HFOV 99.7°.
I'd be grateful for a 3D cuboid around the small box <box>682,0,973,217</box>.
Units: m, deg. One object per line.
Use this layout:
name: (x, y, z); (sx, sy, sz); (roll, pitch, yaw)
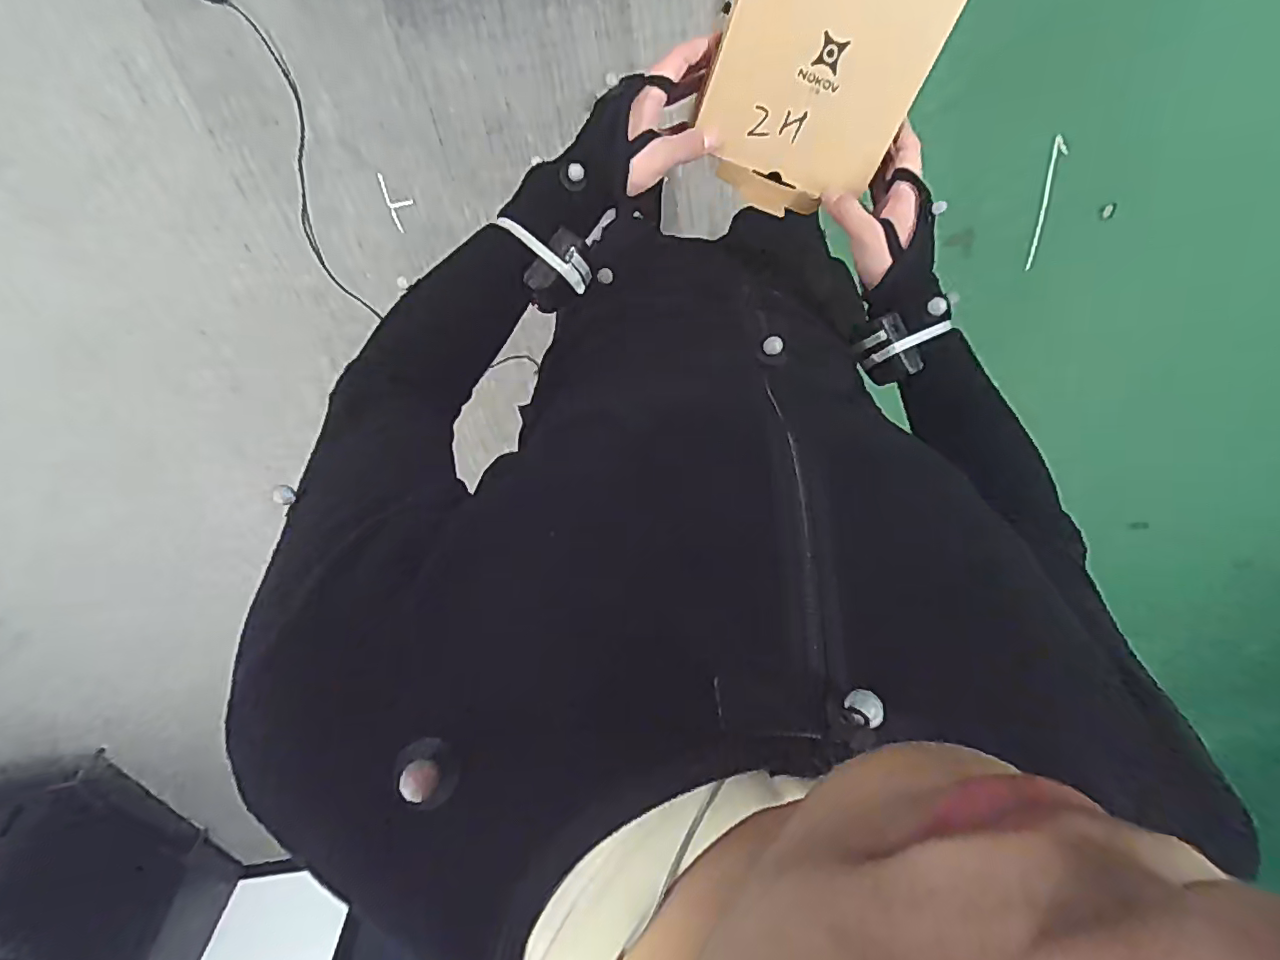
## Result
small box: (0.145, -0.380, 0.492); (0.168, 0.176, 0.179); (22, 127, -13)
